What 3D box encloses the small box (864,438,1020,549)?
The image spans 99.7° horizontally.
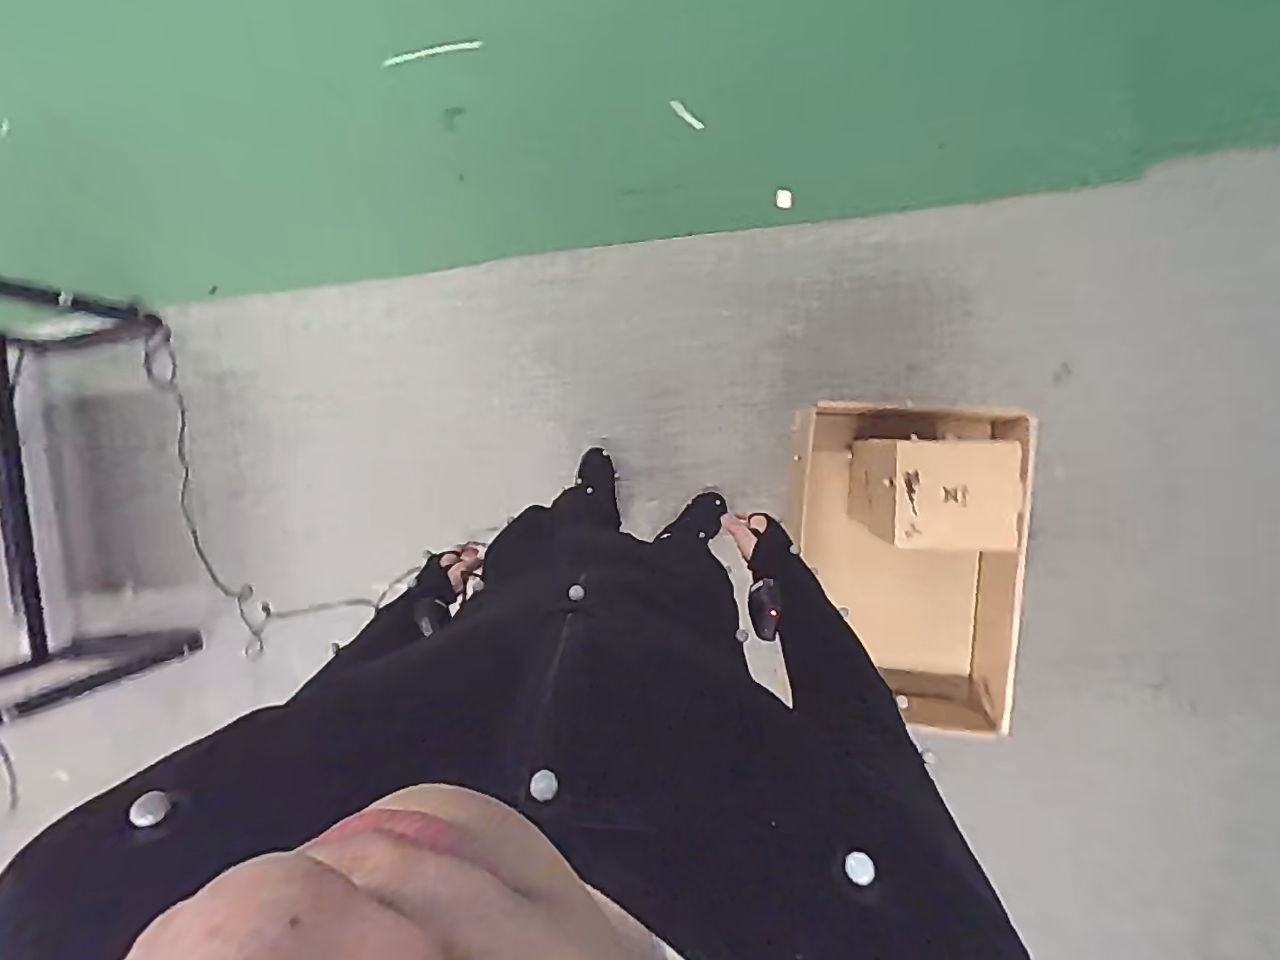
[{"bbox_3d":[0.487,0.014,0.895,0.179,0.176,0.168,2,94,10],"label":"small box"}]

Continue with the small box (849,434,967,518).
[{"bbox_3d":[0.518,0.000,1.055,0.179,0.176,0.168,4,95,9],"label":"small box"}]
